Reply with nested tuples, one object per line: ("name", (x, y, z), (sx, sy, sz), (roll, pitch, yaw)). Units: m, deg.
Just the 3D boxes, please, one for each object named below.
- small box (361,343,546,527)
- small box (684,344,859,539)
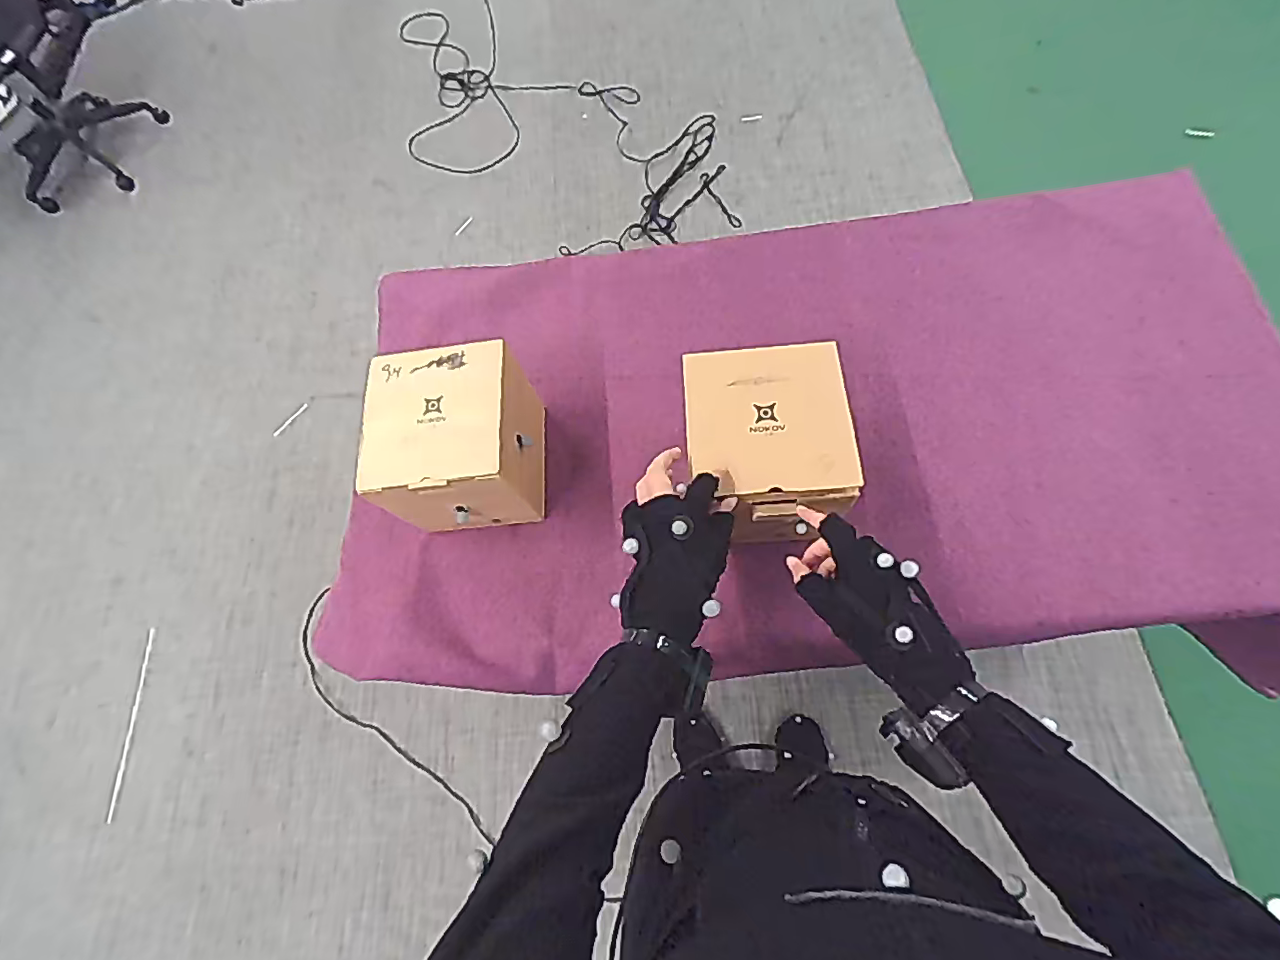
("small box", (-0.220, -0.044, 0.684), (0.168, 0.176, 0.179), (-6, 69, 5))
("small box", (0.141, -0.031, 0.629), (0.168, 0.176, 0.179), (-3, 69, 7))
